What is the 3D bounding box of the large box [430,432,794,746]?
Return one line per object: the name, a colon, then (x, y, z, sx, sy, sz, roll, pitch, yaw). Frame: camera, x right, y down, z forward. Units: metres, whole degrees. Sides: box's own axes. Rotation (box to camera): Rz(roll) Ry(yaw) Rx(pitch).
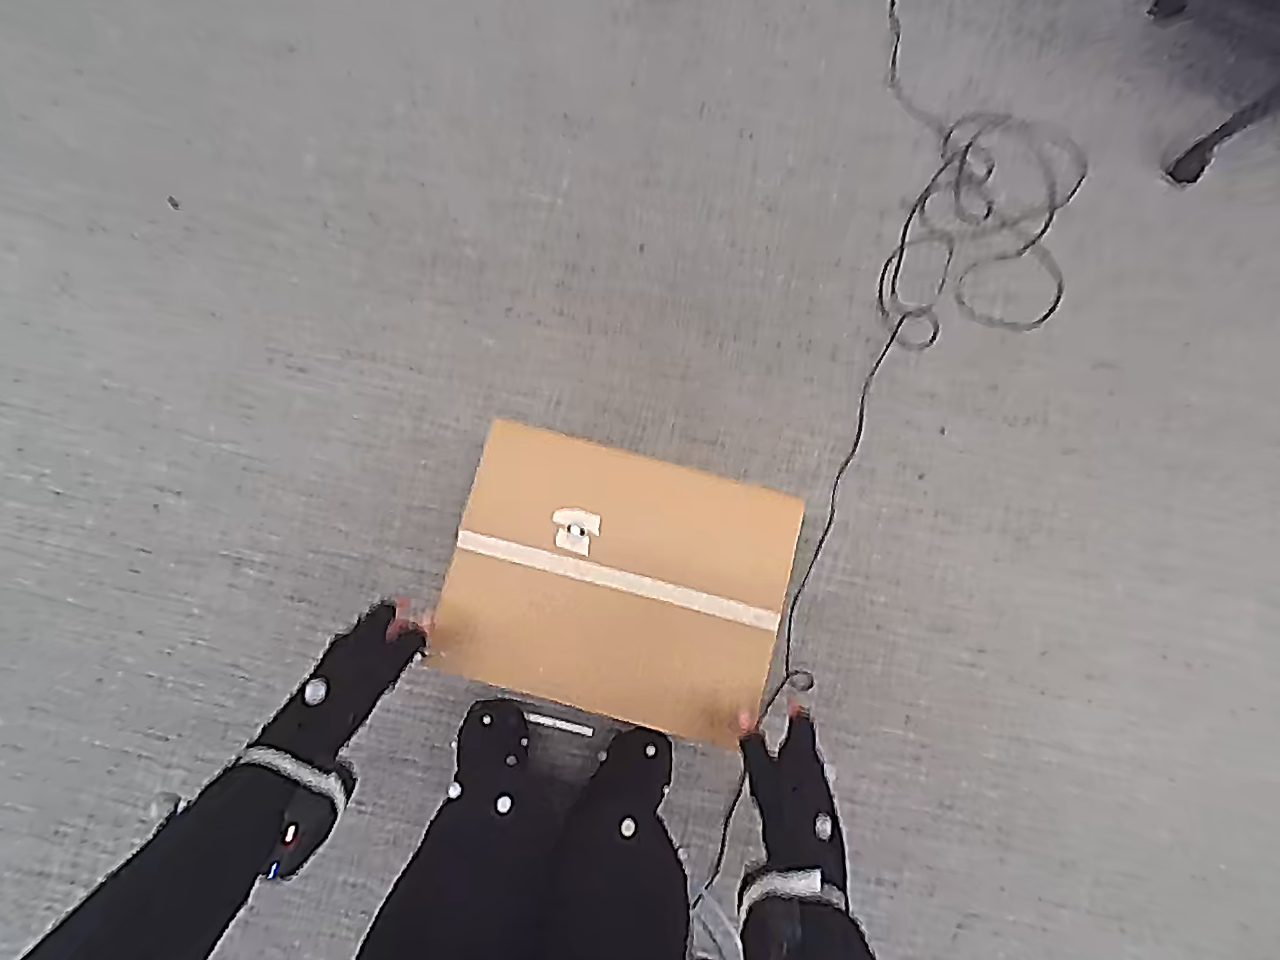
large box: (-0.030, 0.149, 0.822, 0.408, 0.320, 0.320, 15, 82, 1)
